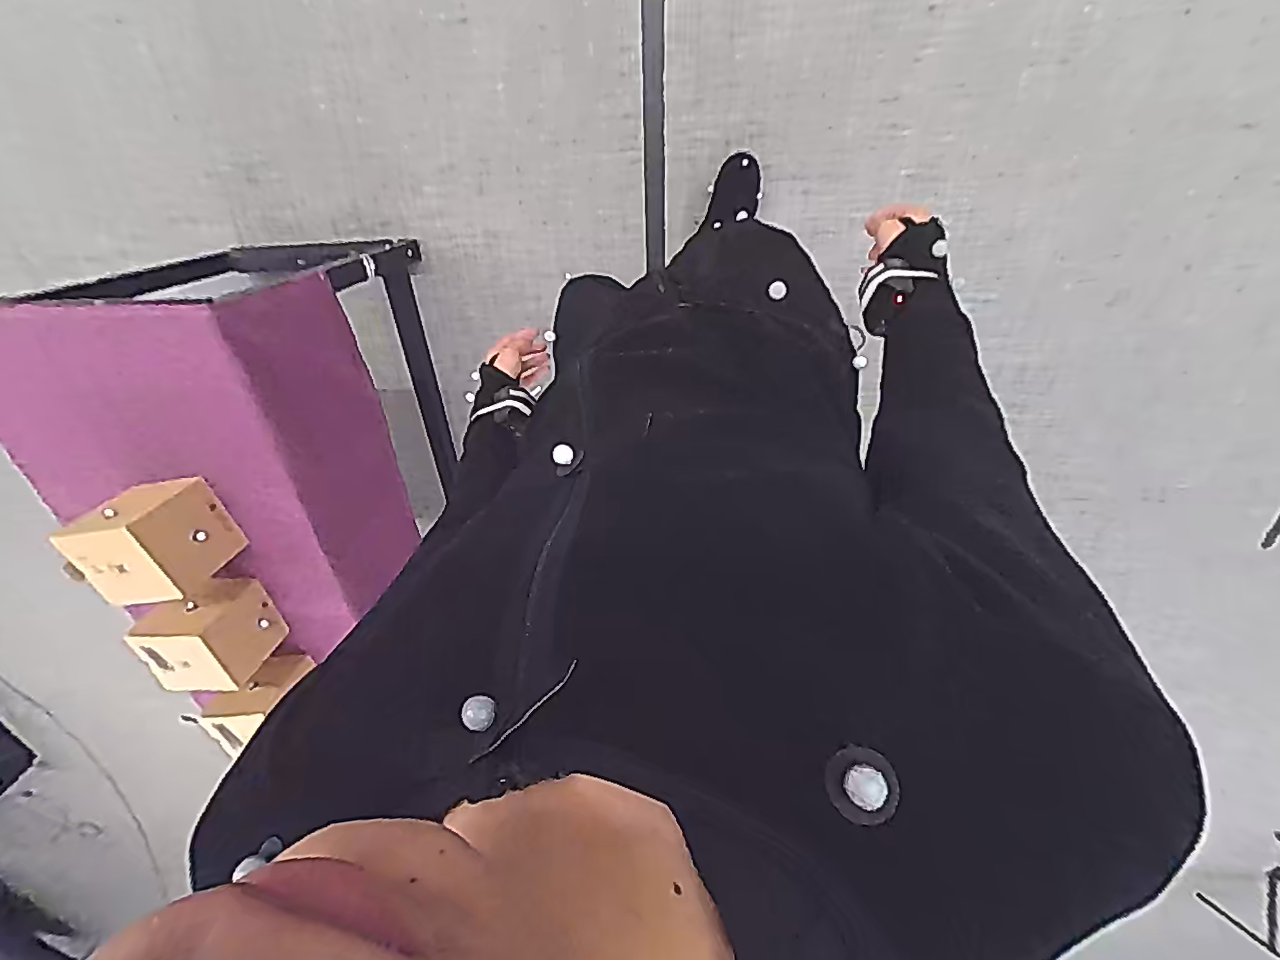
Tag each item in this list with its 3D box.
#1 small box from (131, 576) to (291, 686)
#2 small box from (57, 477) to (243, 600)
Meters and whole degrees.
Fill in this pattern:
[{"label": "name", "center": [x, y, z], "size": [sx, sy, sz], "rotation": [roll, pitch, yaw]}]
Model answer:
[{"label": "small box", "center": [-0.914, 0.322, 1.173], "size": [0.179, 0.176, 0.168], "rotation": [-2, 122, 9]}, {"label": "small box", "center": [-0.915, 0.108, 1.036], "size": [0.179, 0.176, 0.168], "rotation": [-7, 121, 13]}]
